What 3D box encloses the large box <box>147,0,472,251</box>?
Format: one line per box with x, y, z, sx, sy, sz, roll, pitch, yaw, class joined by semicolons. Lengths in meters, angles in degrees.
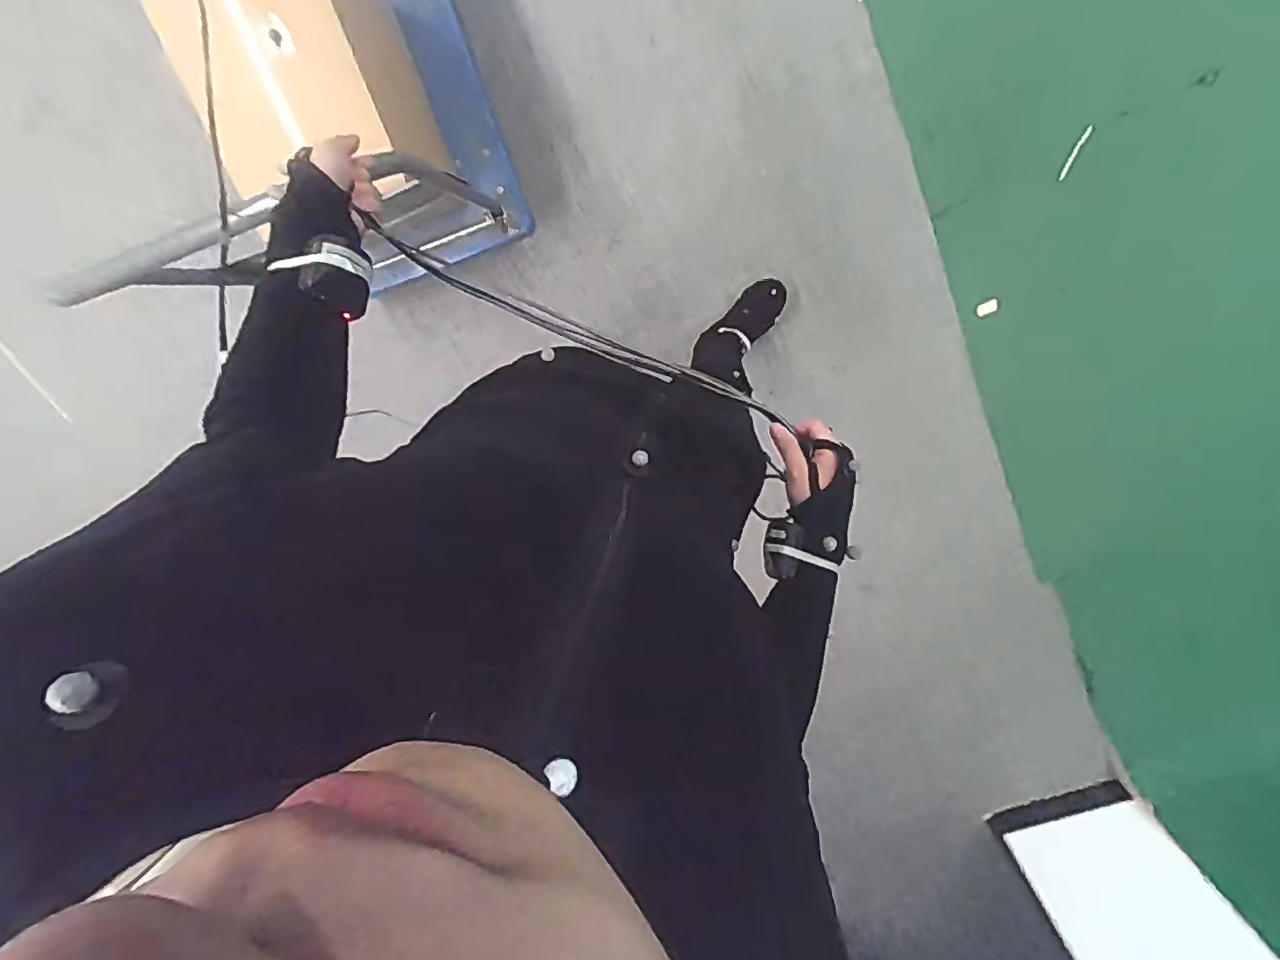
-0.594;-0.711;1.061;0.320;0.320;0.408;-16;108;9;large box
